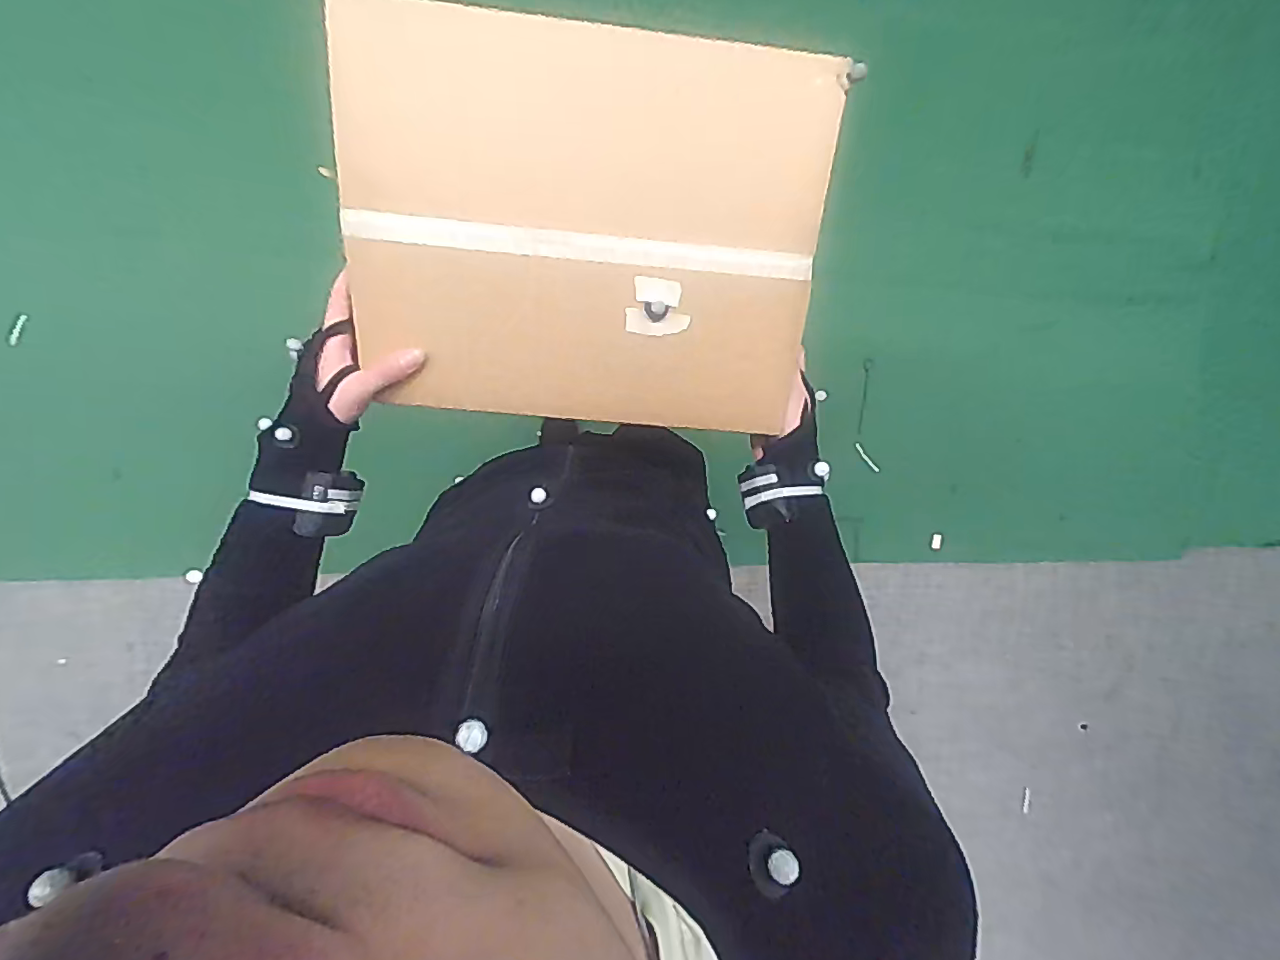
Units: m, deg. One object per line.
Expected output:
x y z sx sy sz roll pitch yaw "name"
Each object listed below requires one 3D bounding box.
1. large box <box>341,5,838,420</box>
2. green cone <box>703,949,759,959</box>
-0.054 -0.264 0.619 0.408 0.320 0.320 3 111 -5 "large box"
0.331 1.746 1.715 0.200 0.368 0.202 6 95 -7 "green cone"
